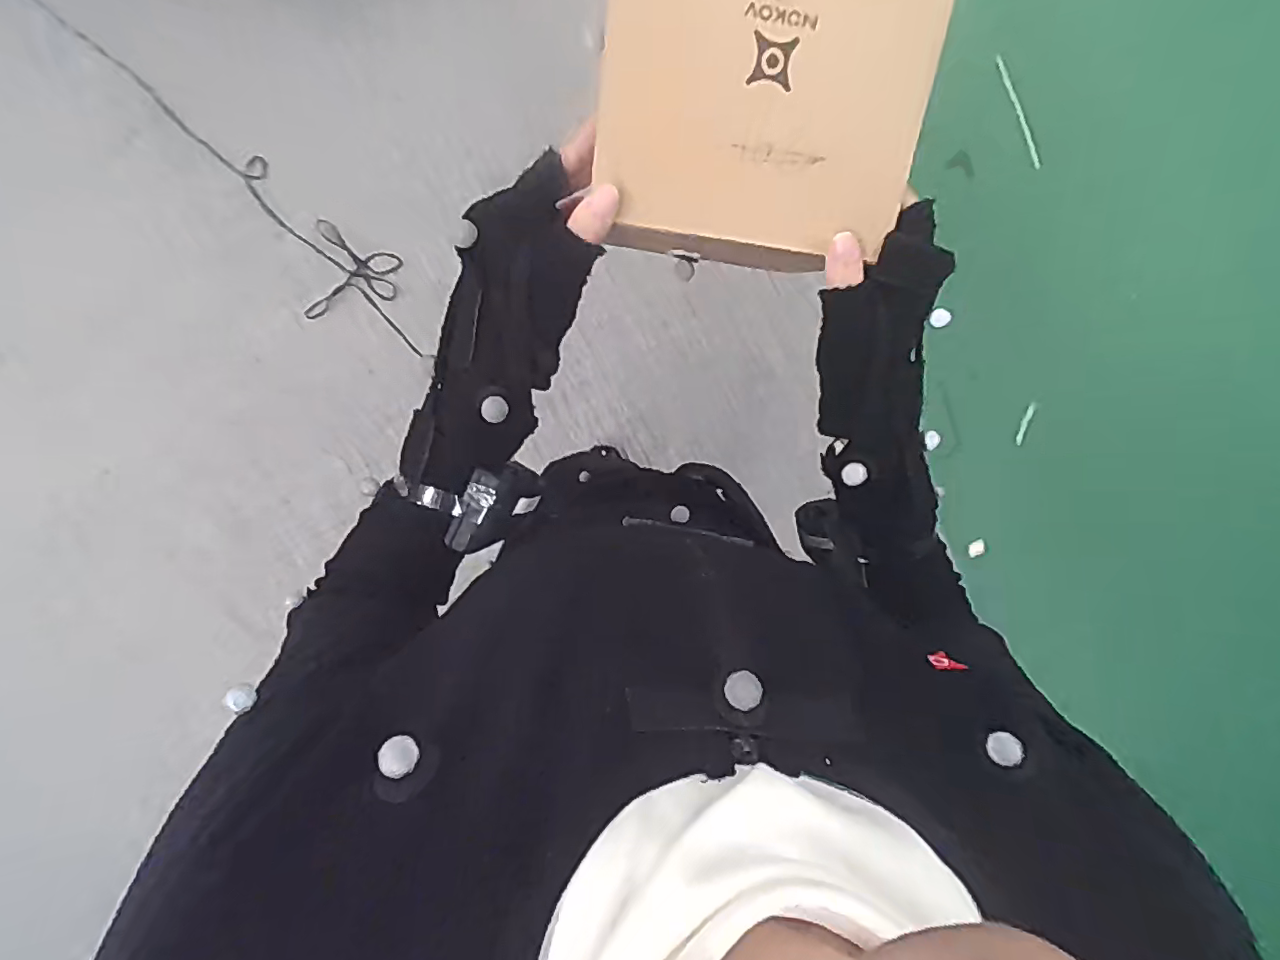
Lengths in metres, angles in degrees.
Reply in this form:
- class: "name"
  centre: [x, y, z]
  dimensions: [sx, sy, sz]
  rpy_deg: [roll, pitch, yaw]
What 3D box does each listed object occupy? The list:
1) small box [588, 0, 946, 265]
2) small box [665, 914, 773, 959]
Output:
- class: "small box"
  centre: [0.060, -0.241, 0.339]
  dimensions: [0.168, 0.176, 0.179]
  rpy_deg: [6, 110, -4]
- class: "small box"
  centre: [0.152, 0.842, 0.838]
  dimensions: [0.168, 0.176, 0.179]
  rpy_deg: [-27, 97, -2]
